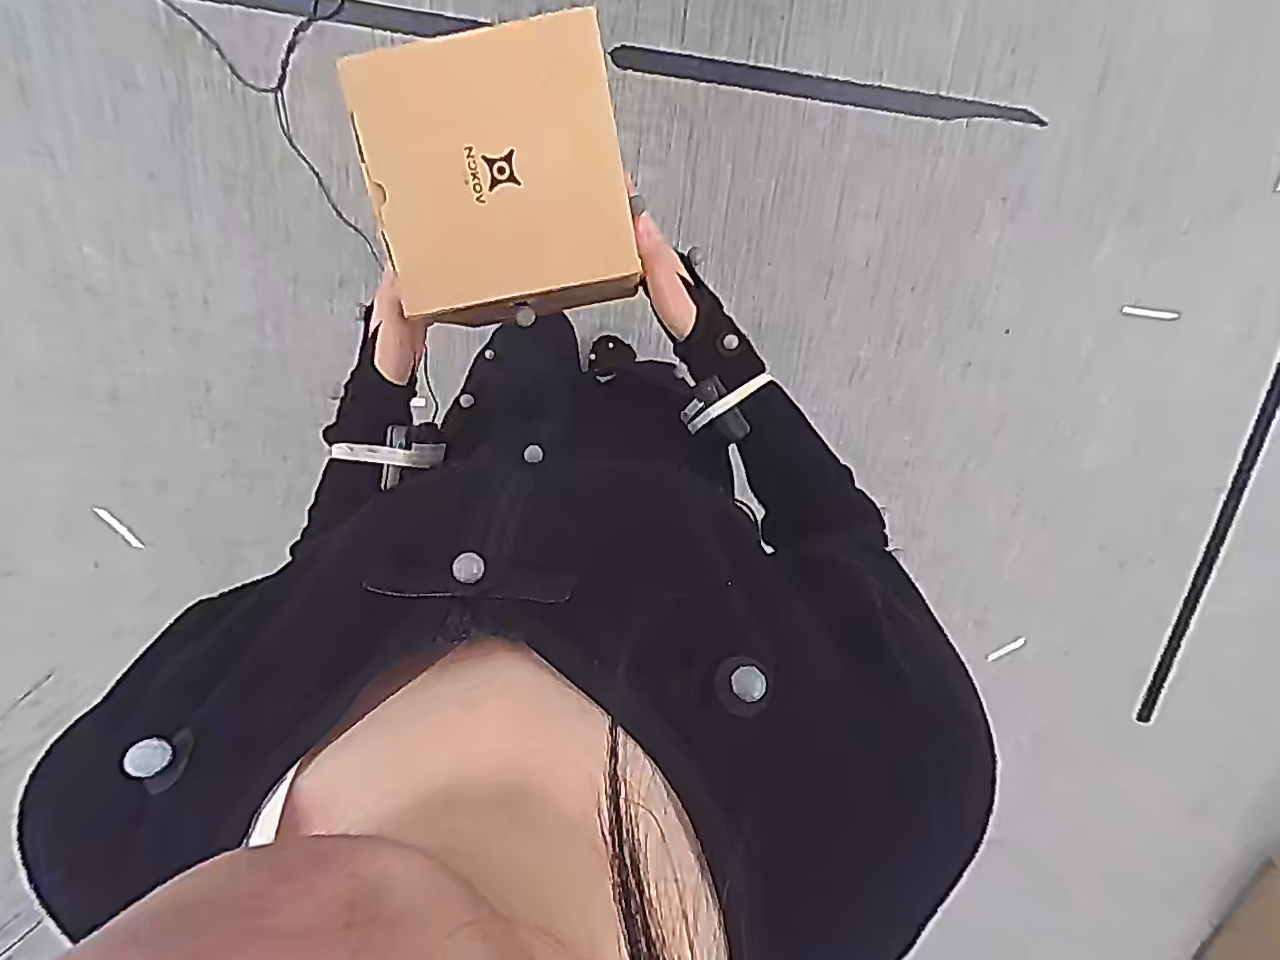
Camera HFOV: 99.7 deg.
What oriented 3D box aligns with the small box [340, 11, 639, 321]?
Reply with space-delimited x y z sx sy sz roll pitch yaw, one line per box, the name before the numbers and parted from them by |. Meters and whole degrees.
small box | -0.100 -0.232 0.449 0.179 0.176 0.168 -10 104 3
